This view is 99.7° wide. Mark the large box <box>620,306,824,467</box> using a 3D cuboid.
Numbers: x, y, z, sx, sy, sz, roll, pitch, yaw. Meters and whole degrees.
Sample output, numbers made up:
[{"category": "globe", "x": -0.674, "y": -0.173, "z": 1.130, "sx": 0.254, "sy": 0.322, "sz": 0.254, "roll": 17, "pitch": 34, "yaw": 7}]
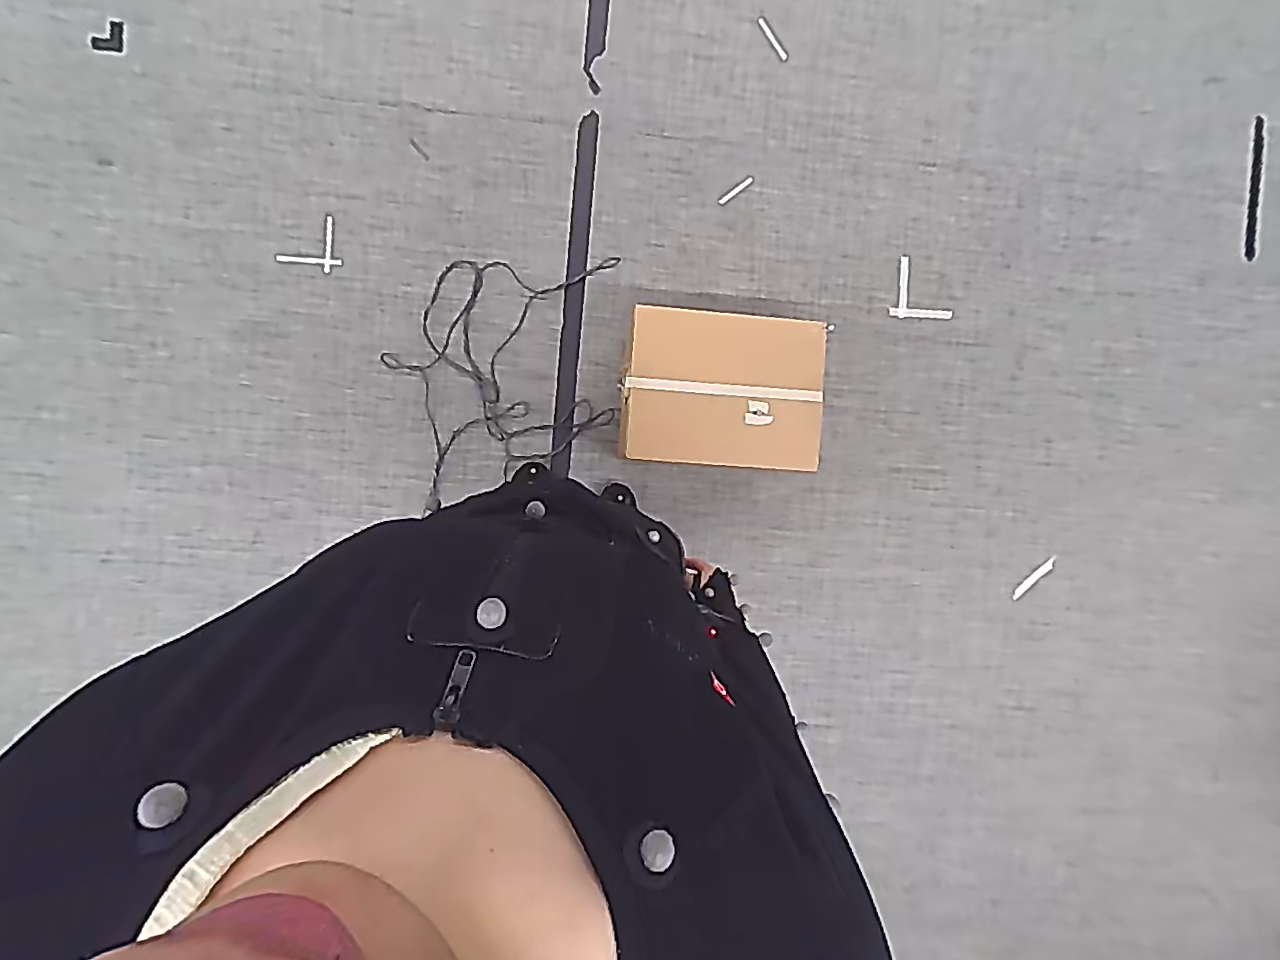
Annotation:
[{"category": "large box", "x": 0.165, "y": -0.193, "z": 1.257, "sx": 0.408, "sy": 0.320, "sz": 0.320, "roll": 3, "pitch": 92, "yaw": -6}]
